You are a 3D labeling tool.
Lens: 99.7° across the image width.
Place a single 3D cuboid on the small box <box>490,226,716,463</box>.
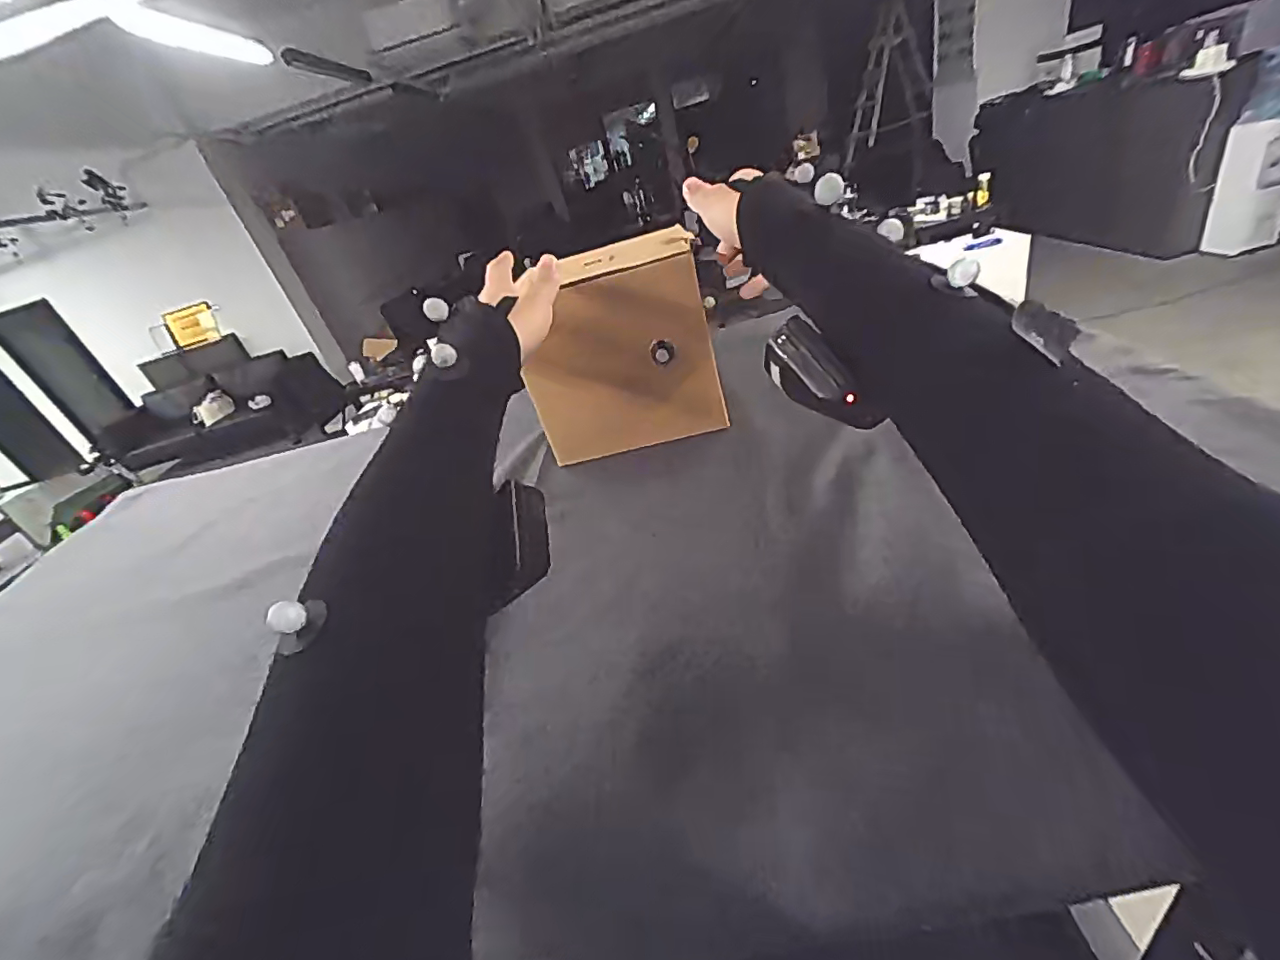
[{"bbox_3d":[-0.022,-0.139,0.553,0.179,0.176,0.168,-12,30,9],"label":"small box"}]
